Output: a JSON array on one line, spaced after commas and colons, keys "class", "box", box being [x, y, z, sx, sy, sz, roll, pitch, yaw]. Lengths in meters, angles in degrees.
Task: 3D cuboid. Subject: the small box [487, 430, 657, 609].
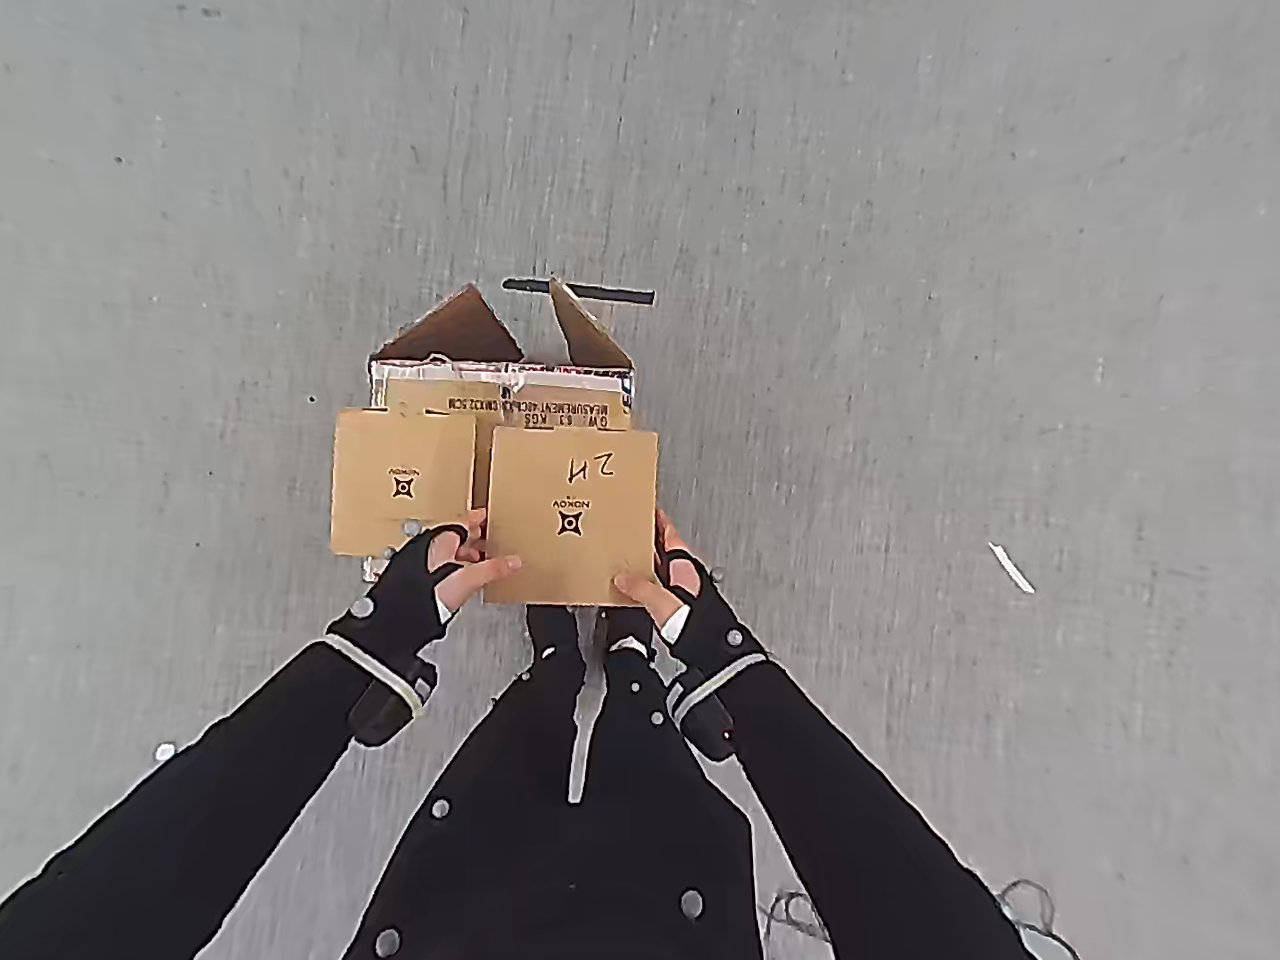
[{"class": "small box", "box": [-0.066, 0.048, 0.617, 0.168, 0.176, 0.179, 1, 81, 0]}]

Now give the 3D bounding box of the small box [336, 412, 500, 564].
[{"class": "small box", "box": [-0.275, 0.008, 0.719, 0.168, 0.176, 0.179, 2, 92, -1]}]
